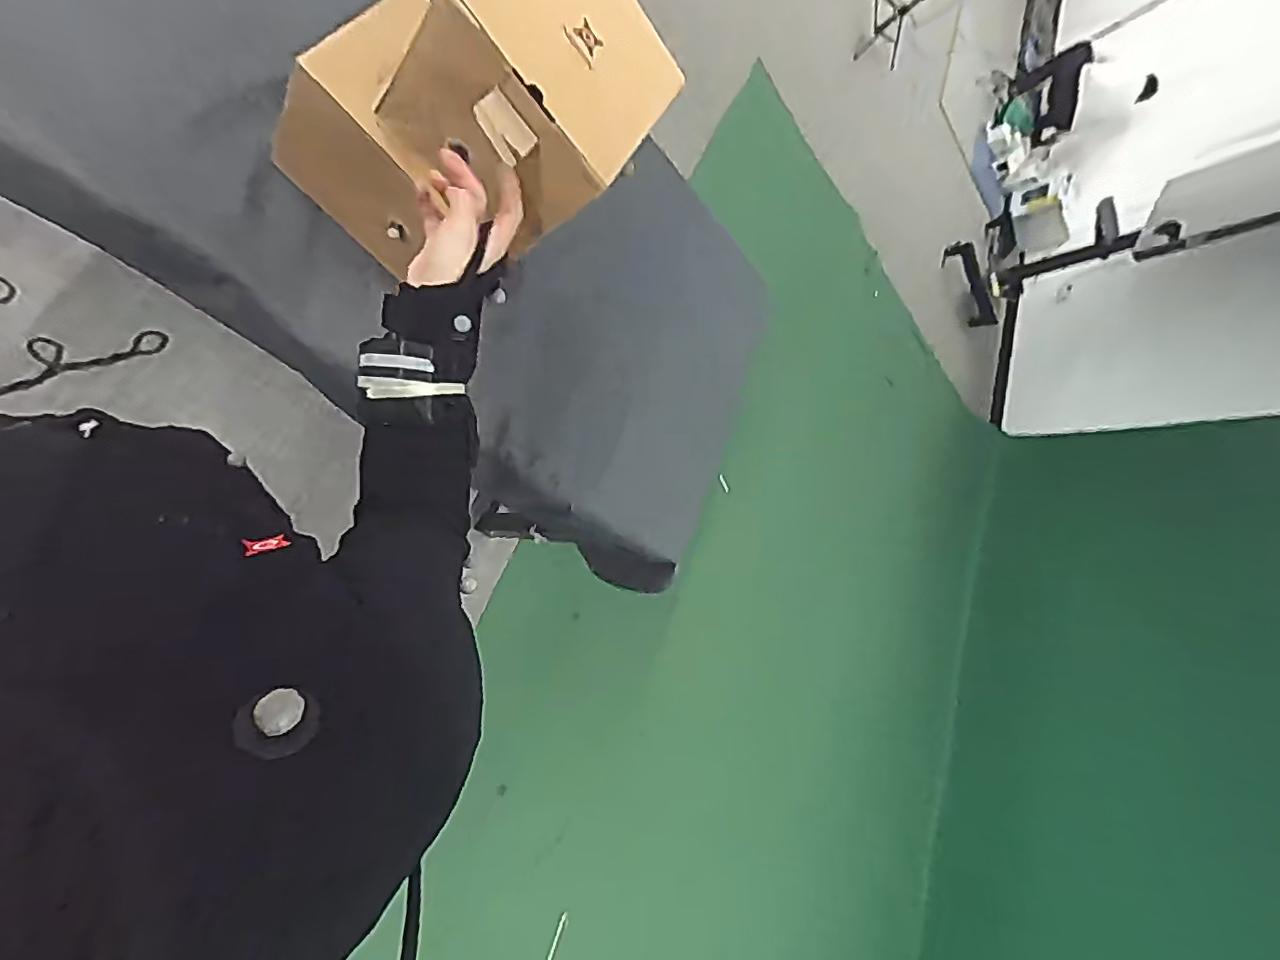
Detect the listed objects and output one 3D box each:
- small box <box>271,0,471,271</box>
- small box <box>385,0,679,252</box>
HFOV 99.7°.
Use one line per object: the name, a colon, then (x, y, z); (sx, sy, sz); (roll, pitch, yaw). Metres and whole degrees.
small box: (-0.251, -0.352, 0.579); (0.179, 0.176, 0.168); (43, 60, -29)
small box: (-0.100, -0.350, 0.496); (0.168, 0.176, 0.179); (42, 62, -32)
